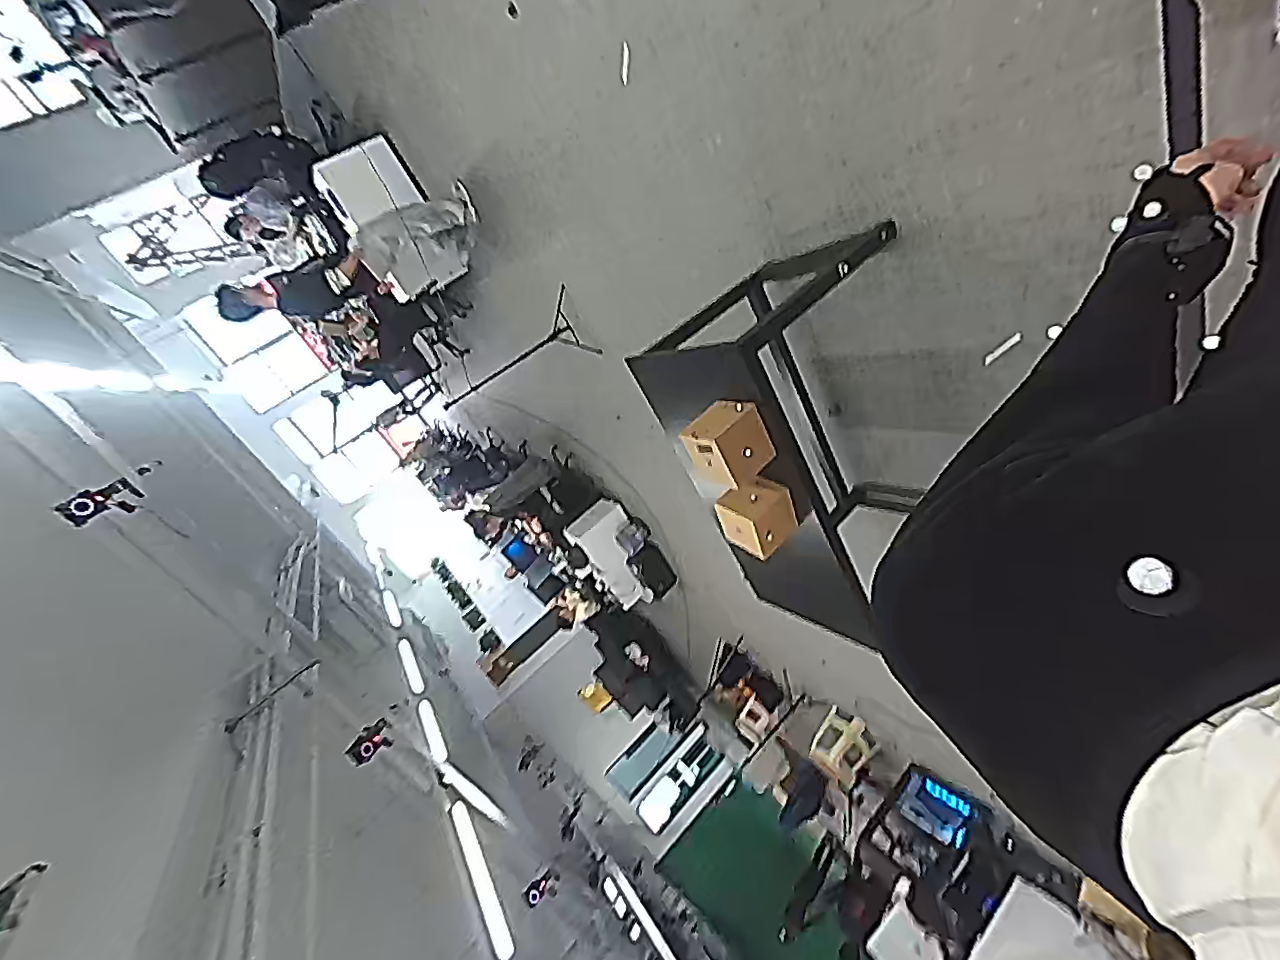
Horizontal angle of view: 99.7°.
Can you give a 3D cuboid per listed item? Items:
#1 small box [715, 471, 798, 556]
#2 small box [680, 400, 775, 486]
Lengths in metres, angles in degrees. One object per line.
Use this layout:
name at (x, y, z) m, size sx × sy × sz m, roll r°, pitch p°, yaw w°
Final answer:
small box at (0.367, 0.096, 1.689) m, size 0.168 × 0.176 × 0.179 m, roll 28°, pitch 153°, yaw 47°
small box at (0.251, -0.112, 1.540) m, size 0.168 × 0.176 × 0.179 m, roll 19°, pitch 146°, yaw 57°
